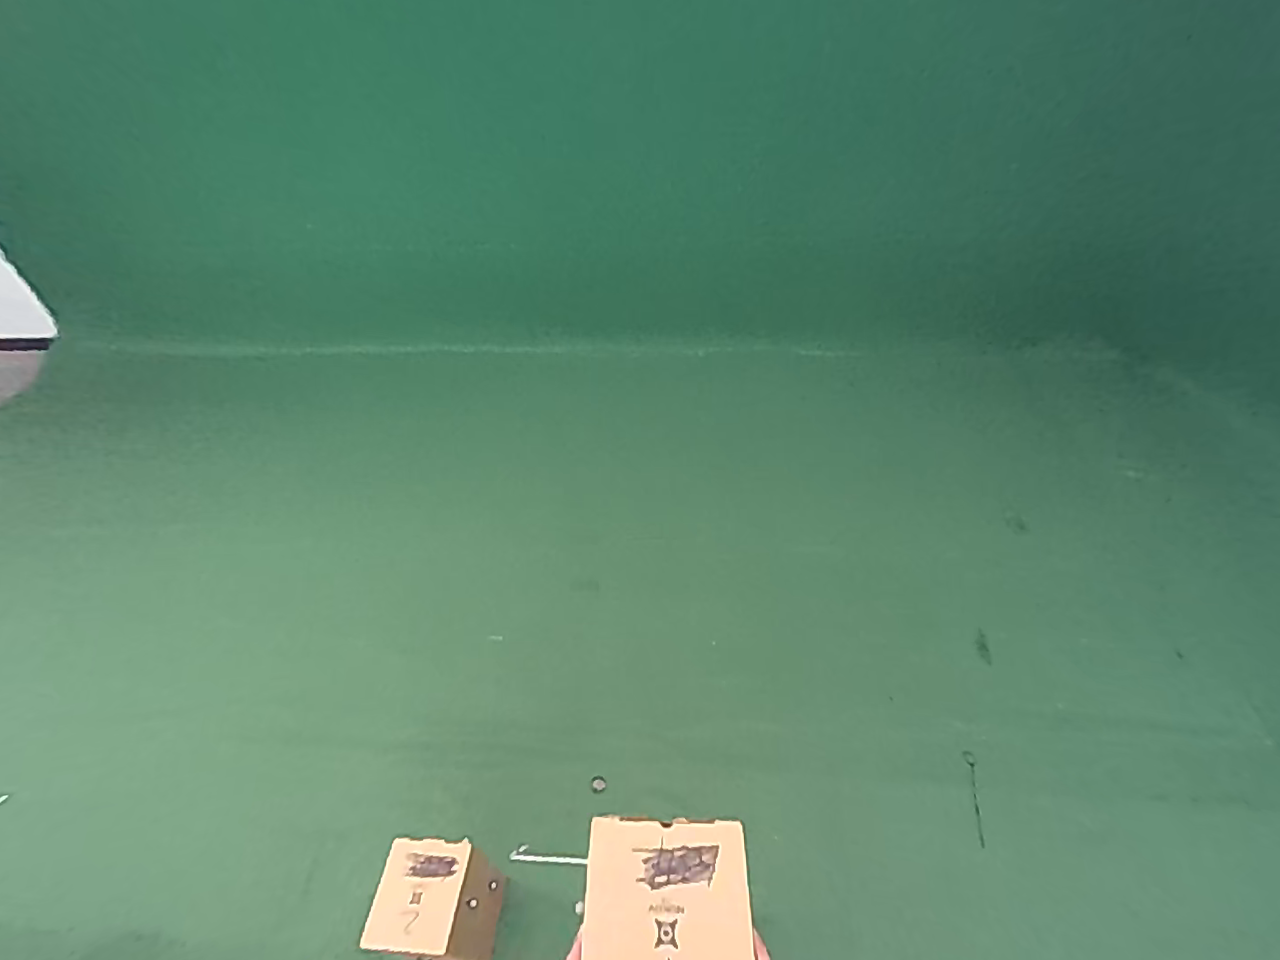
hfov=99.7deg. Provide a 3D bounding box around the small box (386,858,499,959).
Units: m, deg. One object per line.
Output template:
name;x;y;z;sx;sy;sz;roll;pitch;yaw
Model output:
small box;-0.426;0.969;1.202;0.168;0.176;0.179;1;43;4

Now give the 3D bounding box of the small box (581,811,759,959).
small box;0.027;0.475;0.571;0.168;0.176;0.179;2;45;1
